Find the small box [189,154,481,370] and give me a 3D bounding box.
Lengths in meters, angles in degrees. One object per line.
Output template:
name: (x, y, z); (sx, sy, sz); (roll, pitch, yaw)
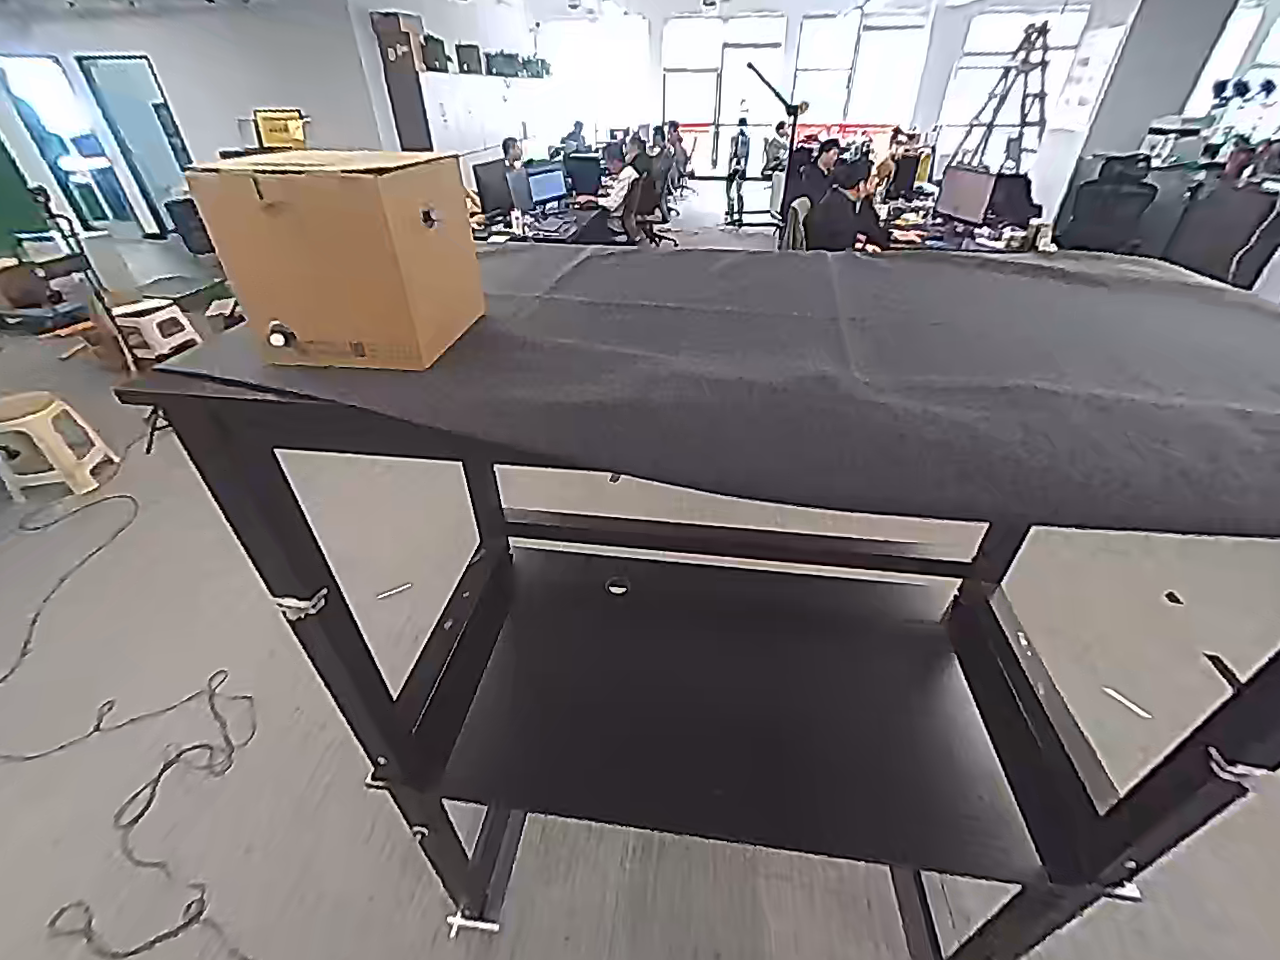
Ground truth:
small box: (-0.273, -0.220, 0.539); (0.168, 0.176, 0.179); (4, 35, 5)
